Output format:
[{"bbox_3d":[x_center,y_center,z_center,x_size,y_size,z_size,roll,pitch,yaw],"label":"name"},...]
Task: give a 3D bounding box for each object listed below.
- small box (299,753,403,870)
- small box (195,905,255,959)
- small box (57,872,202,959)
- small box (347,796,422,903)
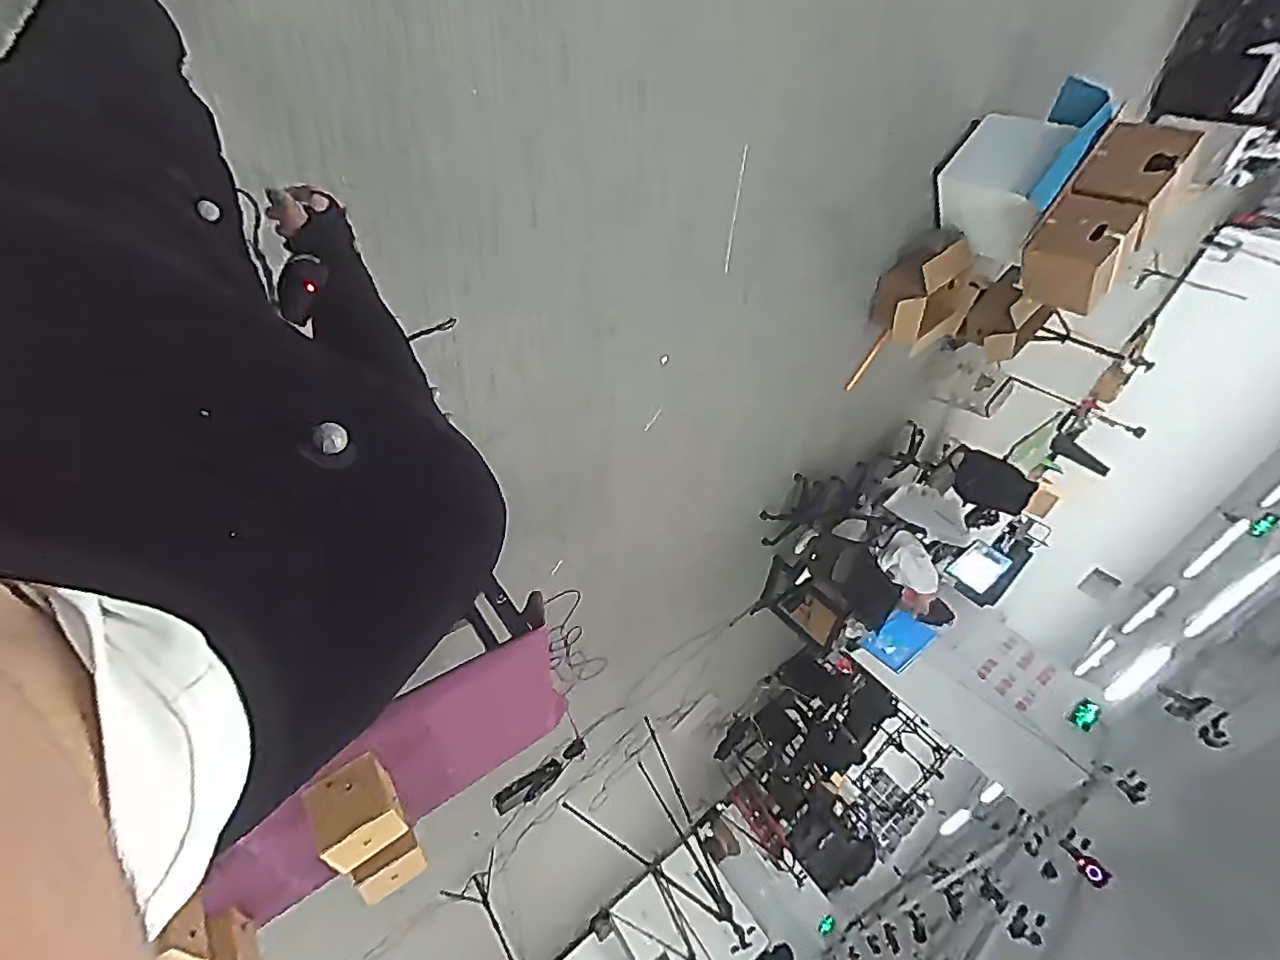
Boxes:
[{"bbox_3d":[-0.726,0.827,1.361,0.168,0.176,0.179,-26,140,-28],"label":"small box"},{"bbox_3d":[-1.084,1.208,1.340,0.168,0.176,0.179,-23,135,-31],"label":"small box"},{"bbox_3d":[-1.063,0.970,1.132,0.168,0.176,0.179,-26,140,-31],"label":"small box"},{"bbox_3d":[-0.749,1.053,1.554,0.168,0.176,0.179,-21,137,-32],"label":"small box"}]
